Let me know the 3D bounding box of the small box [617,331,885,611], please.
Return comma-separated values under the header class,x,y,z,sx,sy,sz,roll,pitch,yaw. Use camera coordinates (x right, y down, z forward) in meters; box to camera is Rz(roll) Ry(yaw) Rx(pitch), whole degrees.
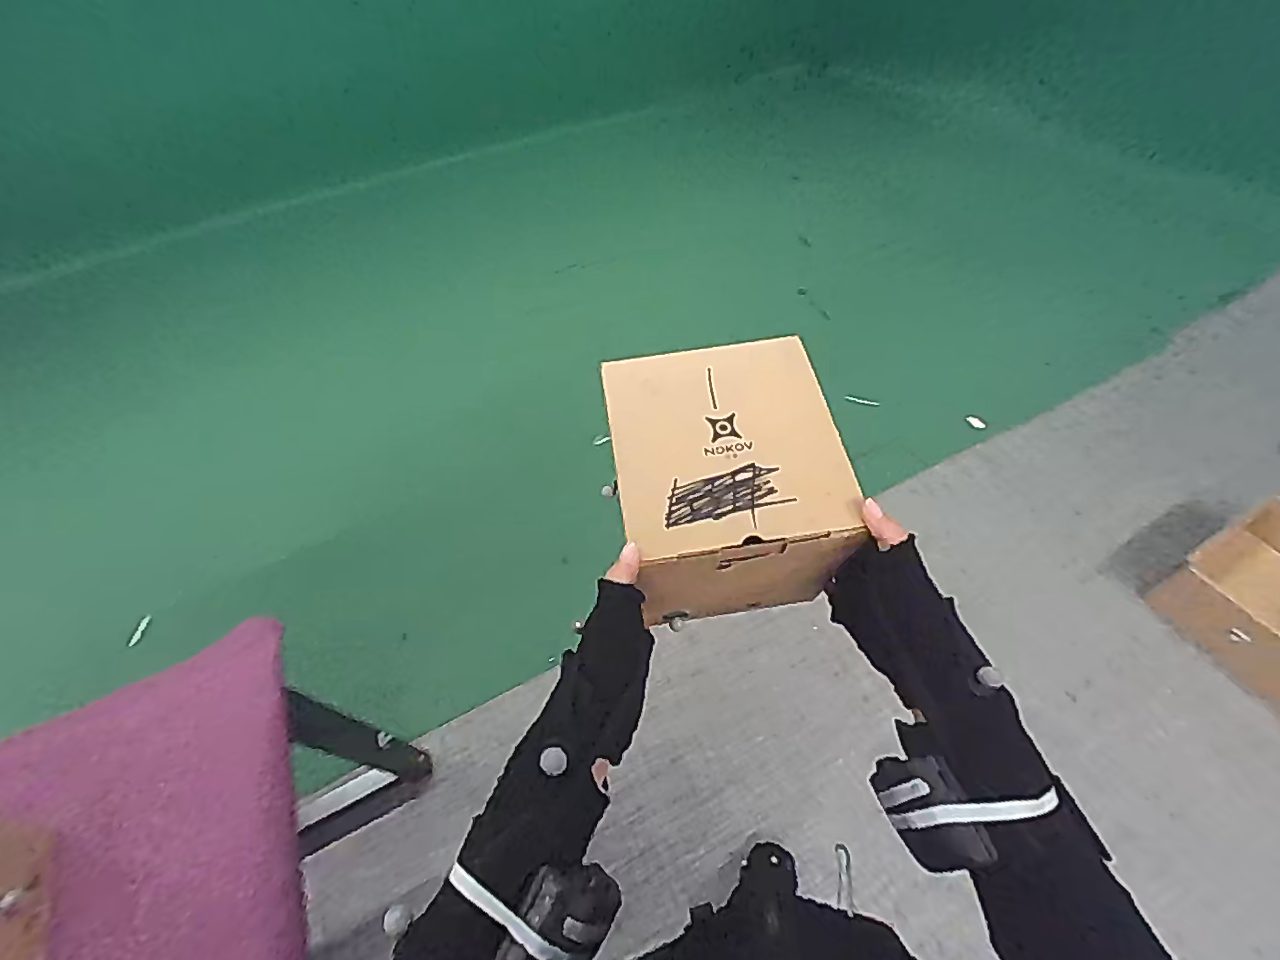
class,x,y,z,sx,sy,sz,roll,pitch,yaw
small box,0.075,0.004,0.463,0.168,0.176,0.179,-8,61,-3
